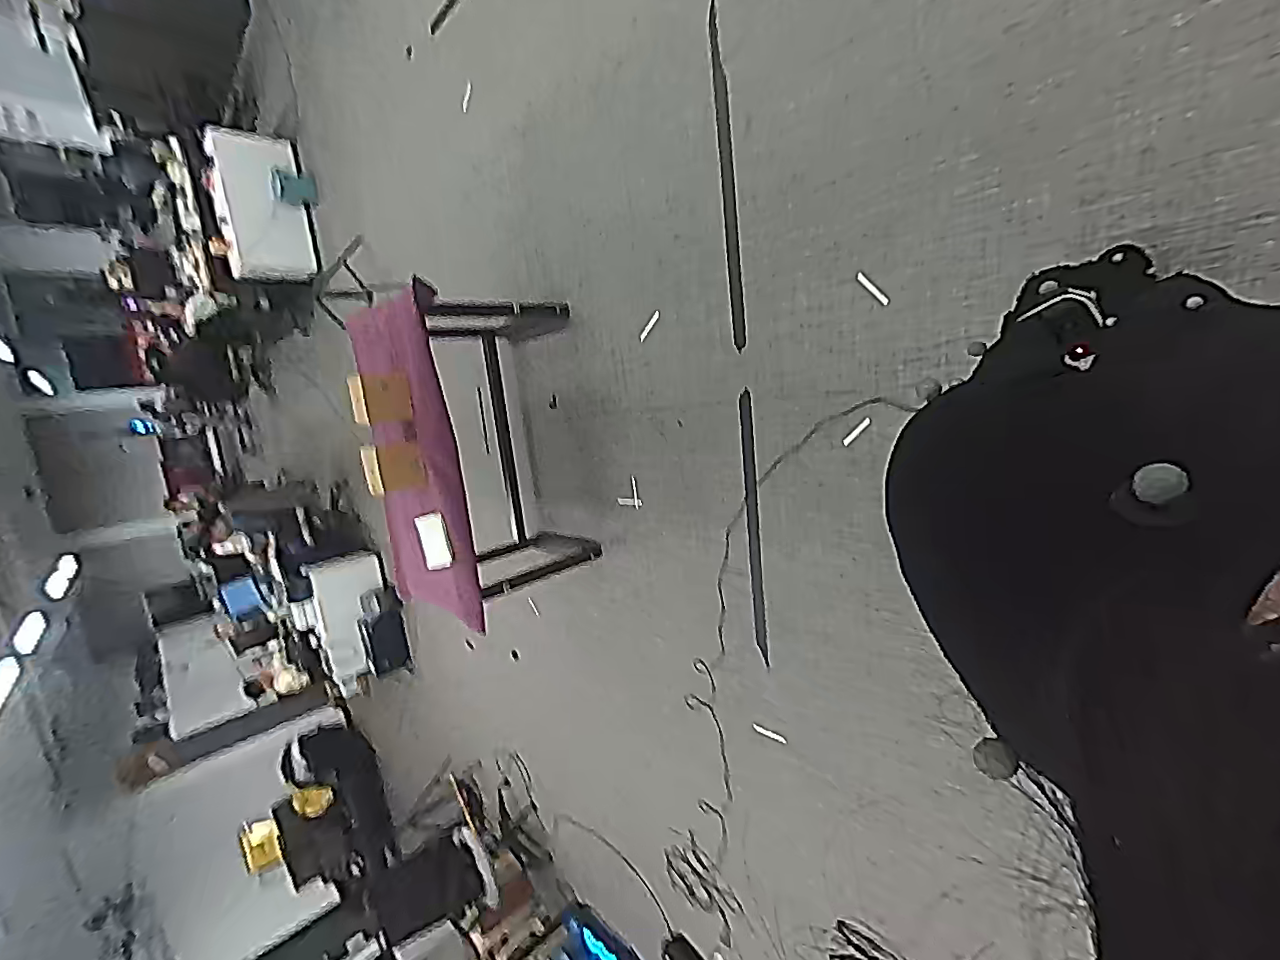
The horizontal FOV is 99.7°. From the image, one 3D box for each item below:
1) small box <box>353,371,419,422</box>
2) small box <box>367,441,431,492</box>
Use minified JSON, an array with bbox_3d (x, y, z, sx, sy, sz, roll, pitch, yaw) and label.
[{"bbox_3d":[-0.962,-0.320,2.049,0.168,0.176,0.179,9,109,48],"label":"small box"},{"bbox_3d":[-0.931,-0.059,2.091,0.168,0.176,0.179,3,103,48],"label":"small box"}]
